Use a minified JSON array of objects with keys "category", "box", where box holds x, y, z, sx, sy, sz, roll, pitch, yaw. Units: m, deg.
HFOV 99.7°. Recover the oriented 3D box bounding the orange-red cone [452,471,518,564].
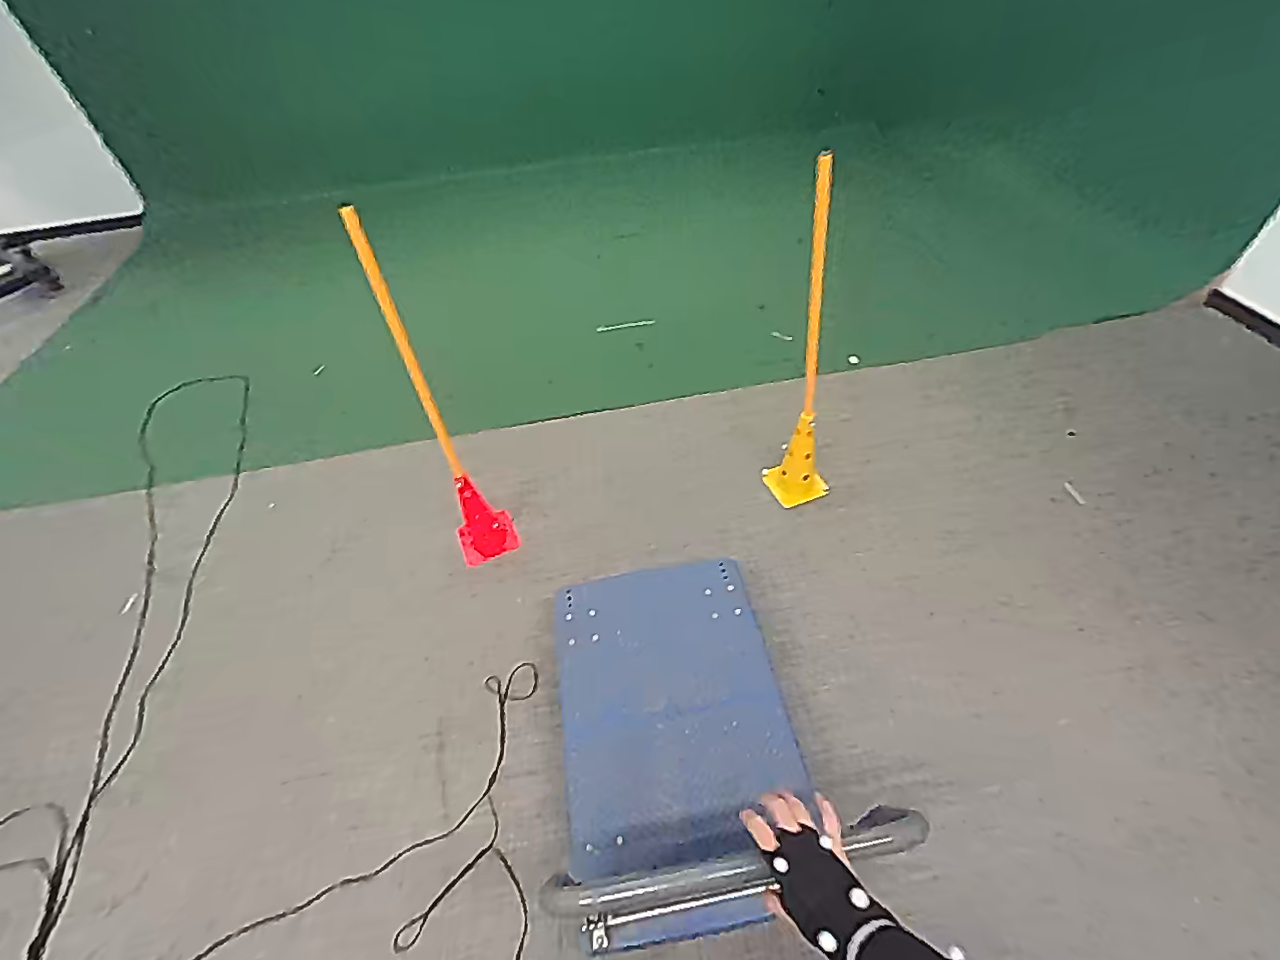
[{"category":"orange-red cone","box":[-0.582,0.100,1.887,0.199,0.360,0.198,-22,50,-12]}]
